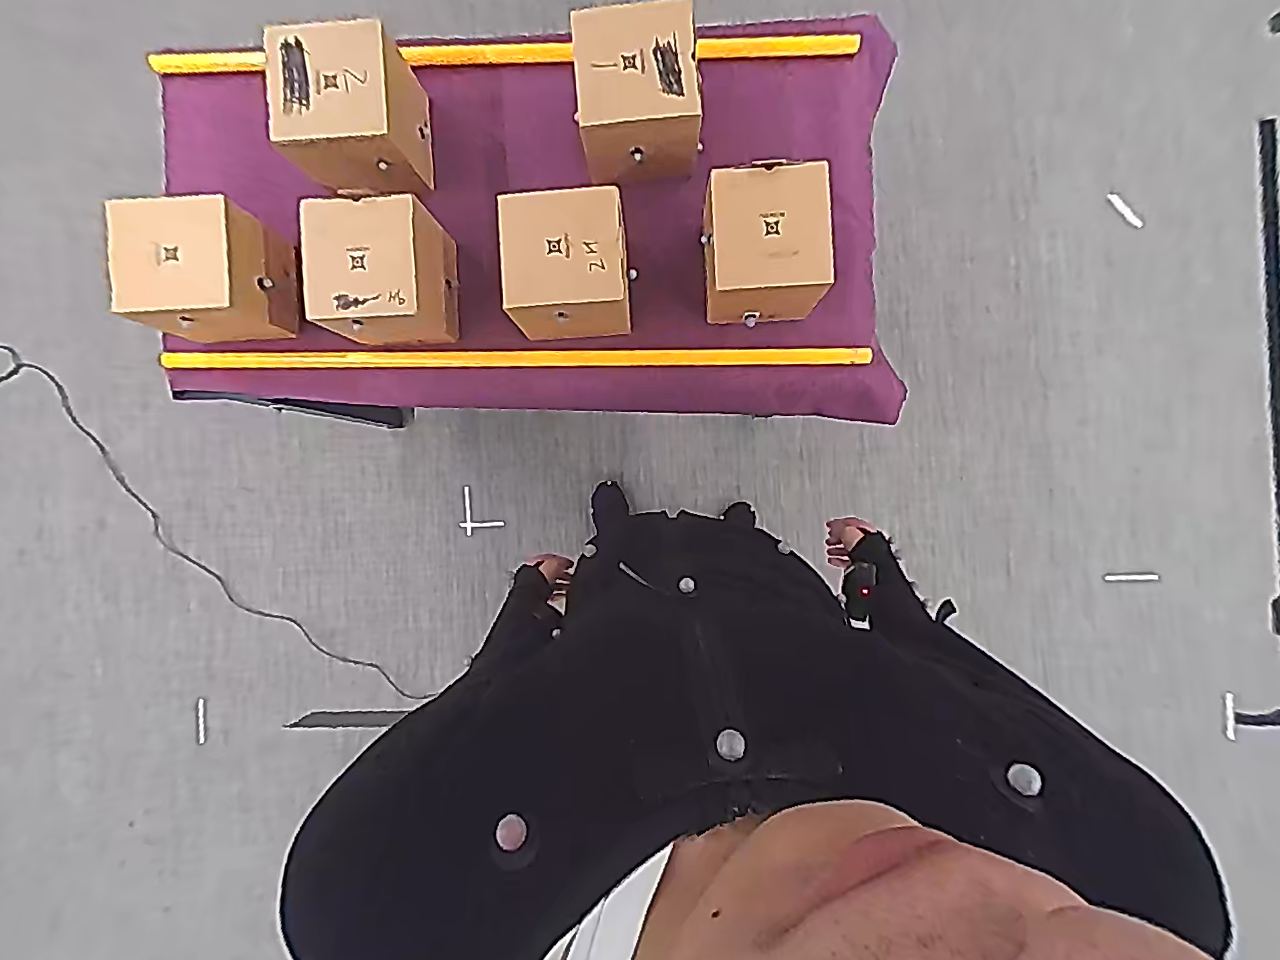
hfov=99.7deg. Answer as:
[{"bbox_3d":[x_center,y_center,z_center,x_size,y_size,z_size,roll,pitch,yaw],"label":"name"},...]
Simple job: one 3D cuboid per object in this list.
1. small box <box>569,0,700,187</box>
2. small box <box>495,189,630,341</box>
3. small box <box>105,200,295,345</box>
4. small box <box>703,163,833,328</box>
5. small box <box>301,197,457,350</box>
[{"bbox_3d":[-0.005,-0.581,0.834,0.179,0.176,0.168,-4,91,3],"label":"small box"},{"bbox_3d":[-0.112,-0.320,0.837,0.179,0.176,0.168,-3,89,3],"label":"small box"},{"bbox_3d":[-0.679,-0.319,0.859,0.179,0.176,0.168,-3,90,1],"label":"small box"},{"bbox_3d":[0.185,-0.347,0.826,0.168,0.176,0.179,-3,88,4],"label":"small box"},{"bbox_3d":[-0.398,-0.313,0.849,0.168,0.176,0.179,-2,90,3],"label":"small box"}]
